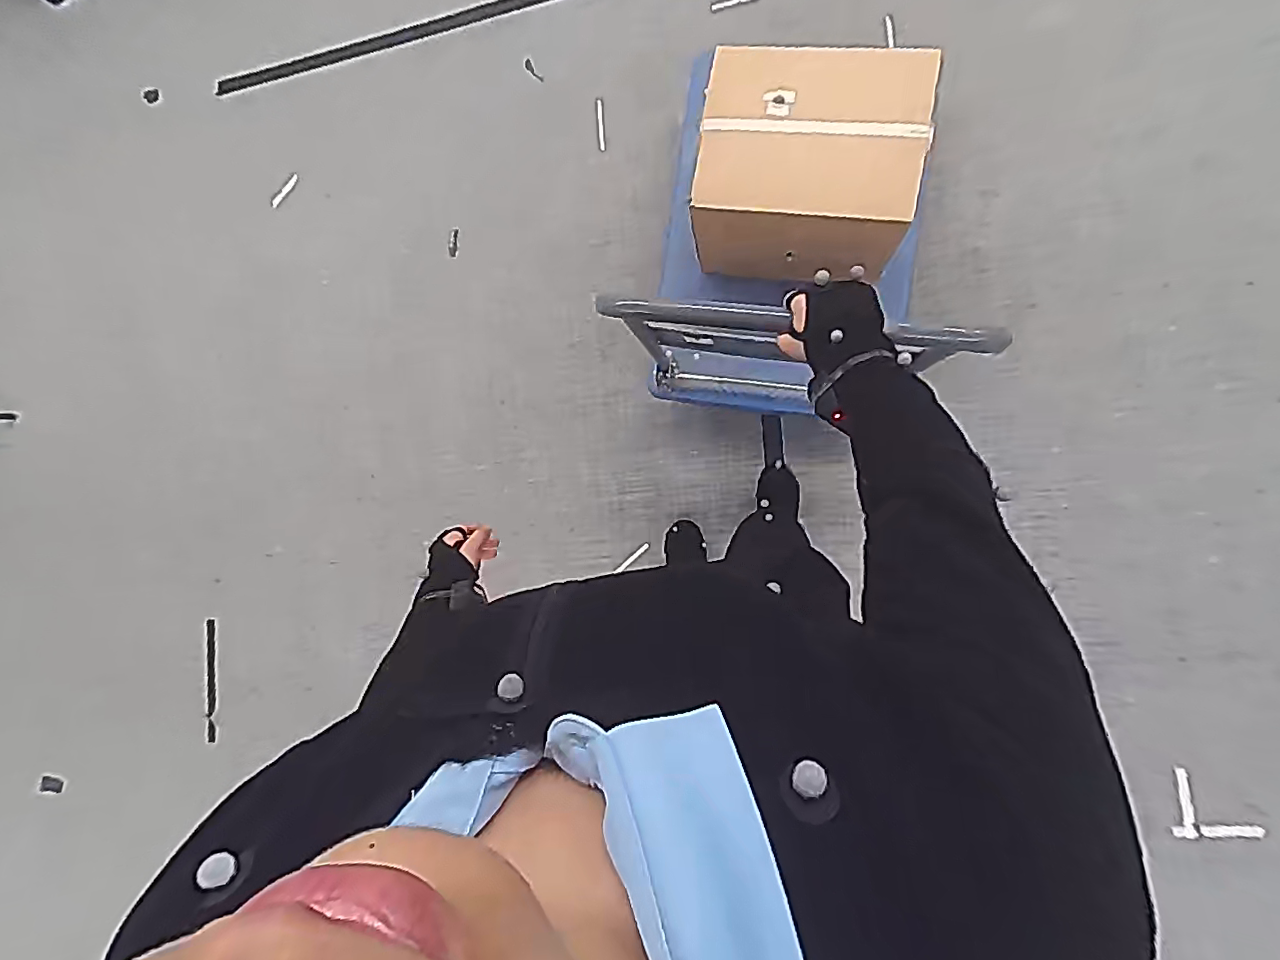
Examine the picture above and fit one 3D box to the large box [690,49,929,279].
[{"bbox_3d":[0.341,-0.644,1.155,0.408,0.320,0.320,9,89,12],"label":"large box"}]
